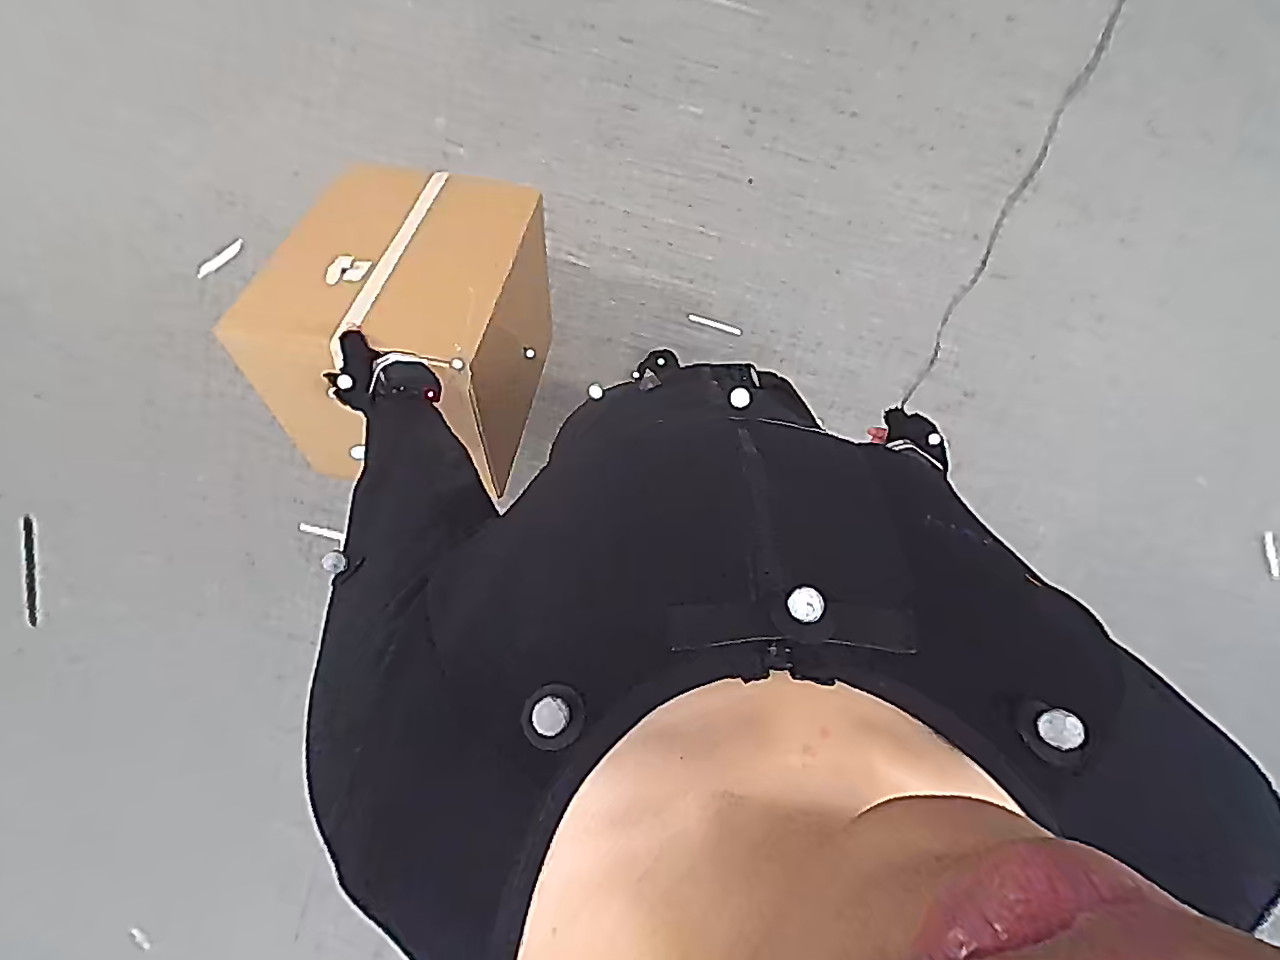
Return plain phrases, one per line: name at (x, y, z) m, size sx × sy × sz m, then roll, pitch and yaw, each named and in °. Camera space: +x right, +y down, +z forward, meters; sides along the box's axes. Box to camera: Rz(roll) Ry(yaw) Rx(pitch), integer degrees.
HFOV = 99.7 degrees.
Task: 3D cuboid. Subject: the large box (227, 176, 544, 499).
large box at (-0.353, -0.229, 0.897) m, size 0.320 × 0.408 × 0.320 m, roll 7°, pitch 147°, yaw 1°
